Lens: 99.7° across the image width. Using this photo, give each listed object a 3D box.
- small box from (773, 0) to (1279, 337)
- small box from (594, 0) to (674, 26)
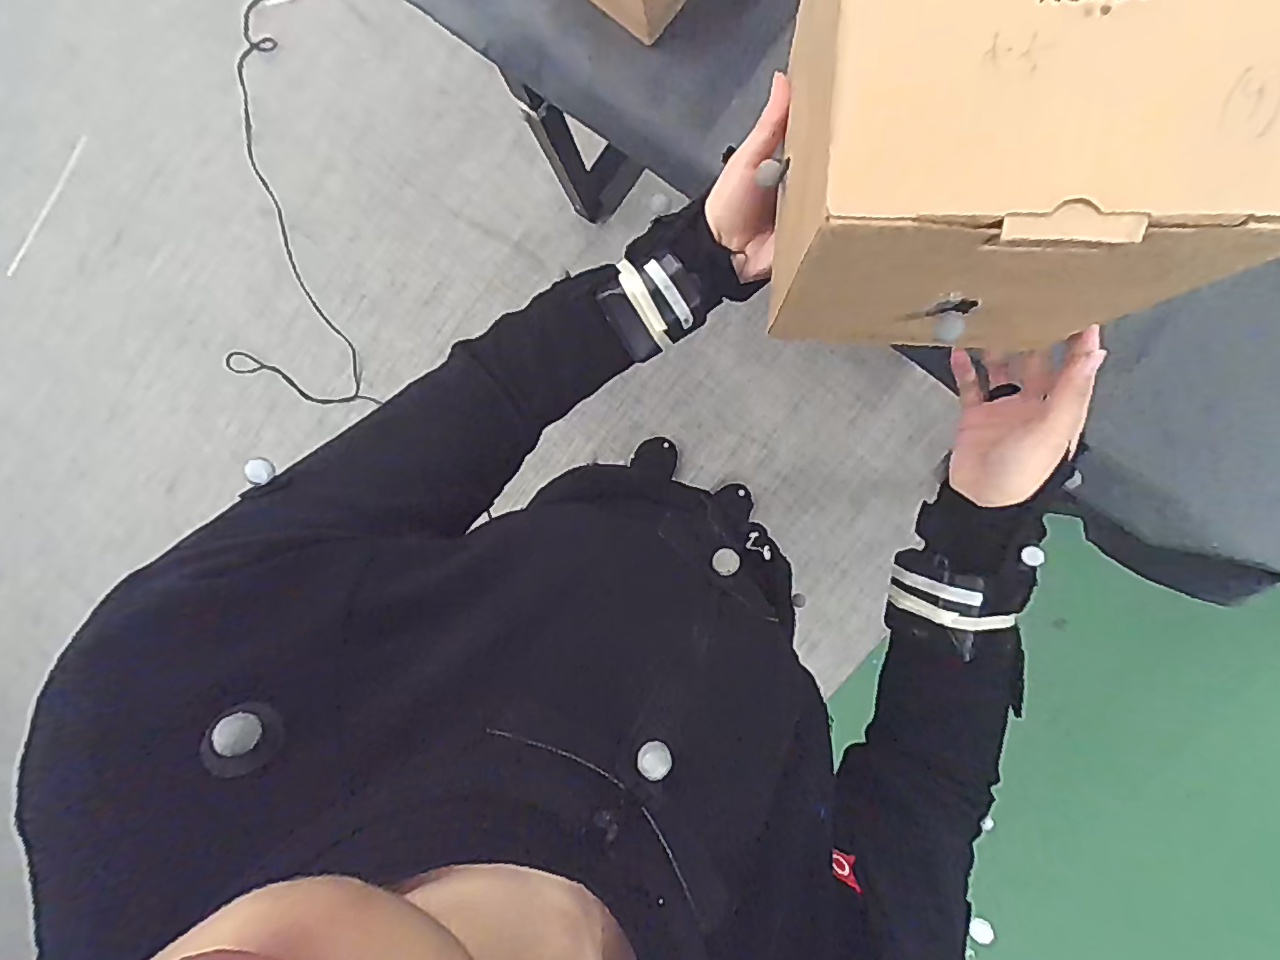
[{"bbox_3d":[0.161,-0.174,0.263,0.168,0.176,0.179,4,92,6],"label":"small box"},{"bbox_3d":[-0.011,-0.601,0.521,0.179,0.176,0.168,40,94,2],"label":"small box"}]
